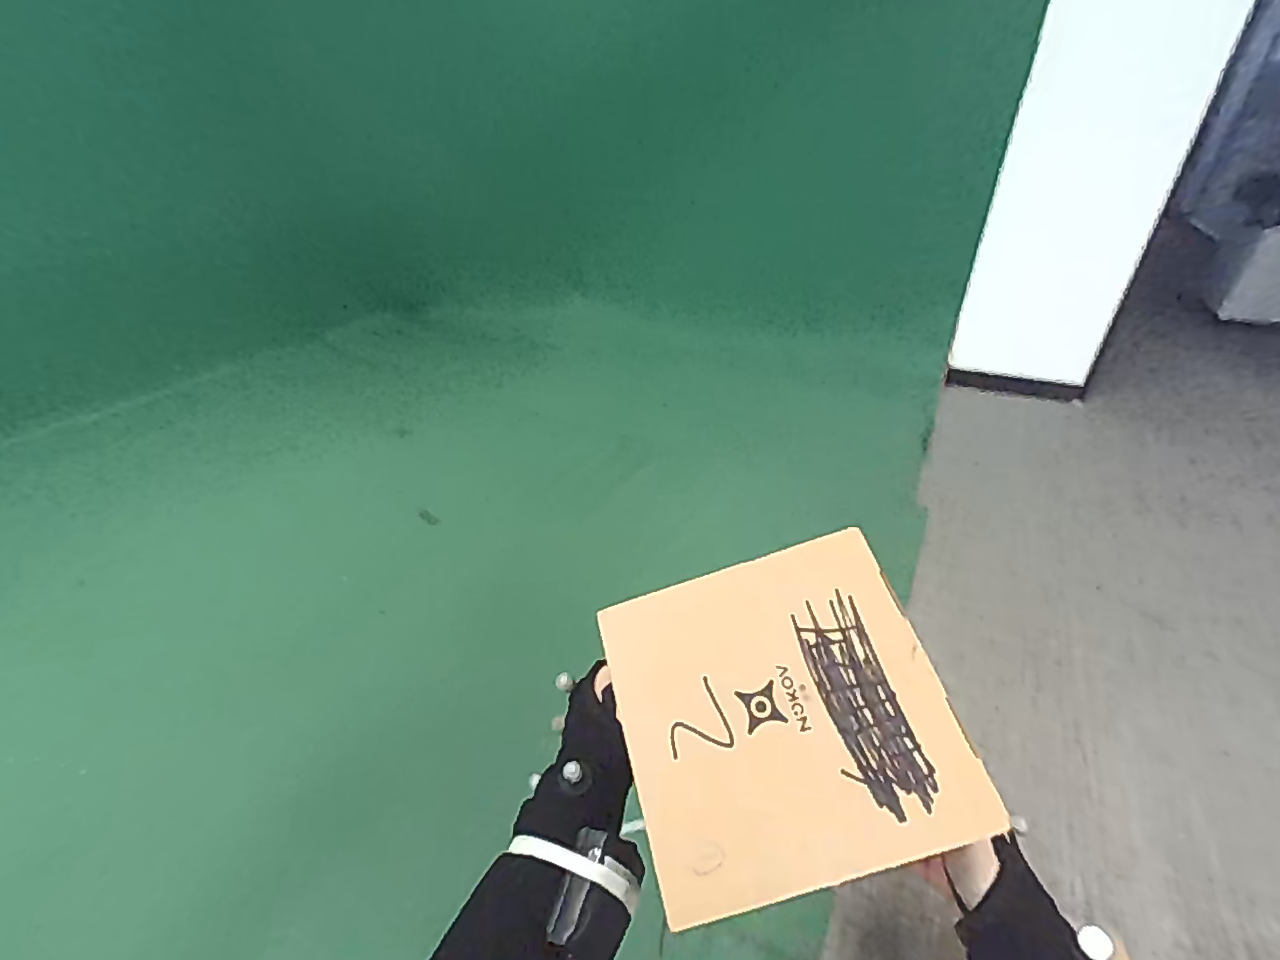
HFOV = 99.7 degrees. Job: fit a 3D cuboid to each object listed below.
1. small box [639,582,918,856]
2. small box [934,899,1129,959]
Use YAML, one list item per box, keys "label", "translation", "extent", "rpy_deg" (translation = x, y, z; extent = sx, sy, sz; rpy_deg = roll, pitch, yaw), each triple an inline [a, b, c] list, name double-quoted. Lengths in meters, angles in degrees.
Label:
- label: "small box"
  translation: [0.118, 0.222, 0.508]
  extent: [0.179, 0.176, 0.168]
  rpy_deg: [-22, 61, 0]
- label: "small box"
  translation: [0.462, 0.635, 0.623]
  extent: [0.168, 0.176, 0.179]
  rpy_deg: [4, 35, 12]
